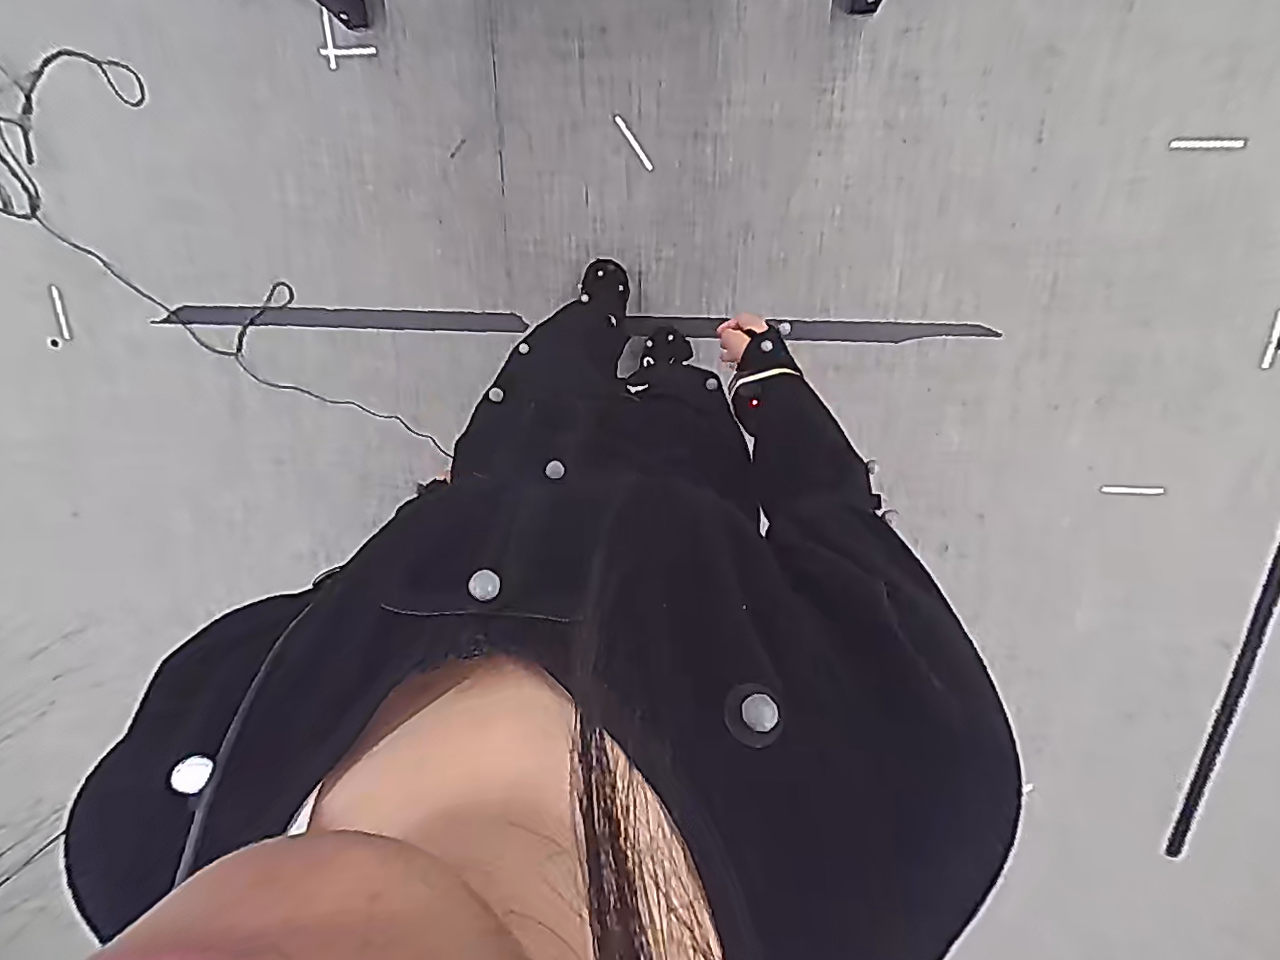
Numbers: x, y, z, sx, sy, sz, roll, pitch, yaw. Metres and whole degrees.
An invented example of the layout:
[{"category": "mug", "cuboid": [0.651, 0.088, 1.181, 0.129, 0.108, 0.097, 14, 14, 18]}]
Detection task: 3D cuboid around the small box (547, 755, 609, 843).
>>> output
[{"category": "small box", "cuboid": [-0.193, 1.010, 1.723, 0.168, 0.176, 0.179, 1, 107, 5]}]
